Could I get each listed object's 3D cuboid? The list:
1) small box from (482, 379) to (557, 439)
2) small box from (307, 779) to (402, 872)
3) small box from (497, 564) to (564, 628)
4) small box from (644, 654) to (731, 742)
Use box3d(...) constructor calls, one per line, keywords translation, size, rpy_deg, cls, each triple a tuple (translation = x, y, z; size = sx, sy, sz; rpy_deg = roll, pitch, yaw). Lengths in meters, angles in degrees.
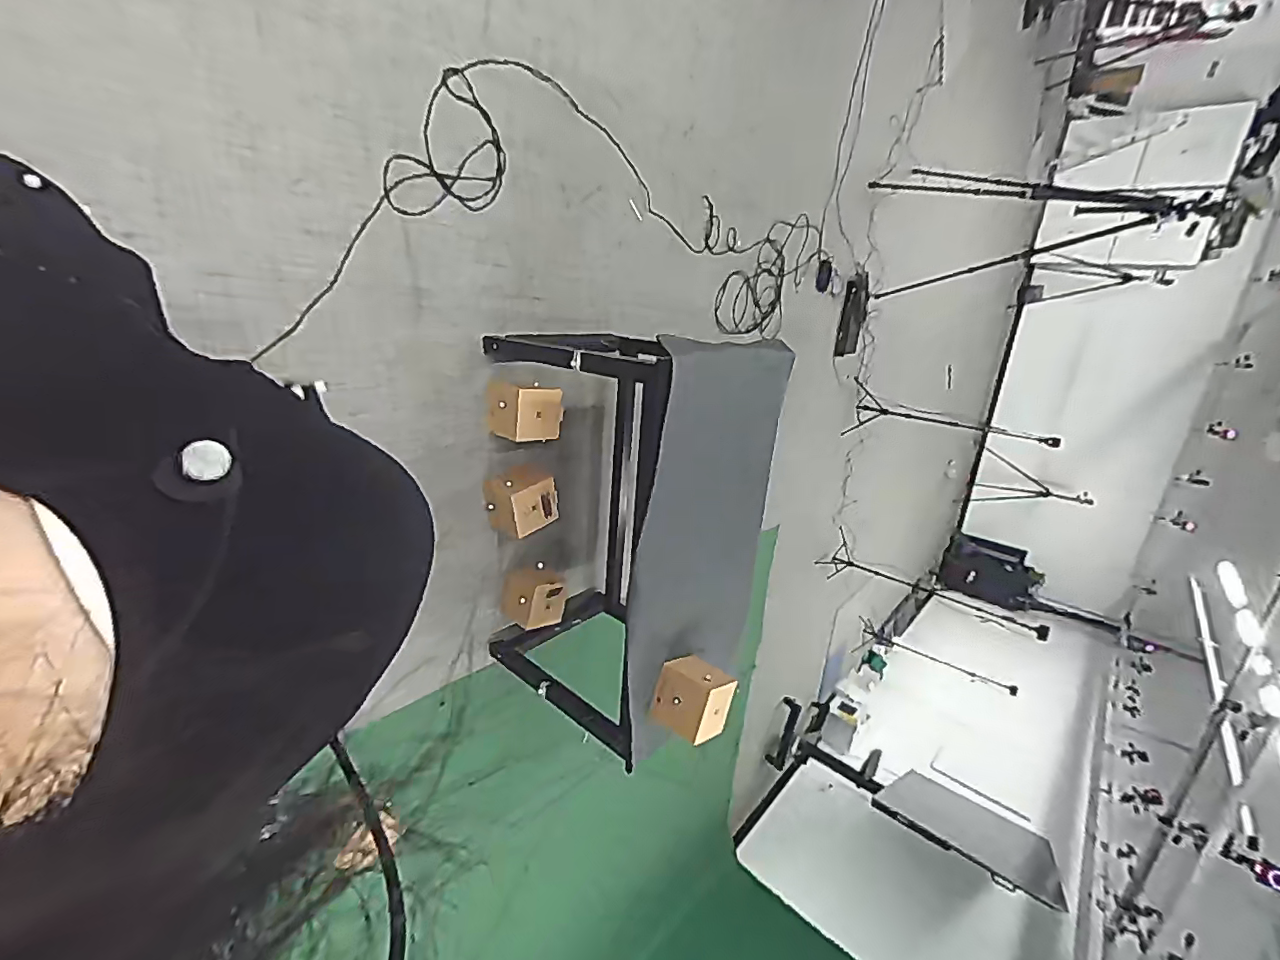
box3d(translation=(-0.396, -0.233, 1.763), size=(0.179, 0.176, 0.168), rpy_deg=(-11, 113, -49), cls="small box")
box3d(translation=(-0.901, 1.086, 1.707), size=(0.168, 0.176, 0.179), rpy_deg=(-48, 138, -27), cls="small box")
box3d(translation=(-0.414, 0.425, 2.019), size=(0.168, 0.176, 0.179), rpy_deg=(2, 105, -51), cls="small box")
box3d(translation=(0.137, 0.630, 1.584), size=(0.179, 0.176, 0.168), rpy_deg=(14, 94, -55), cls="small box")
